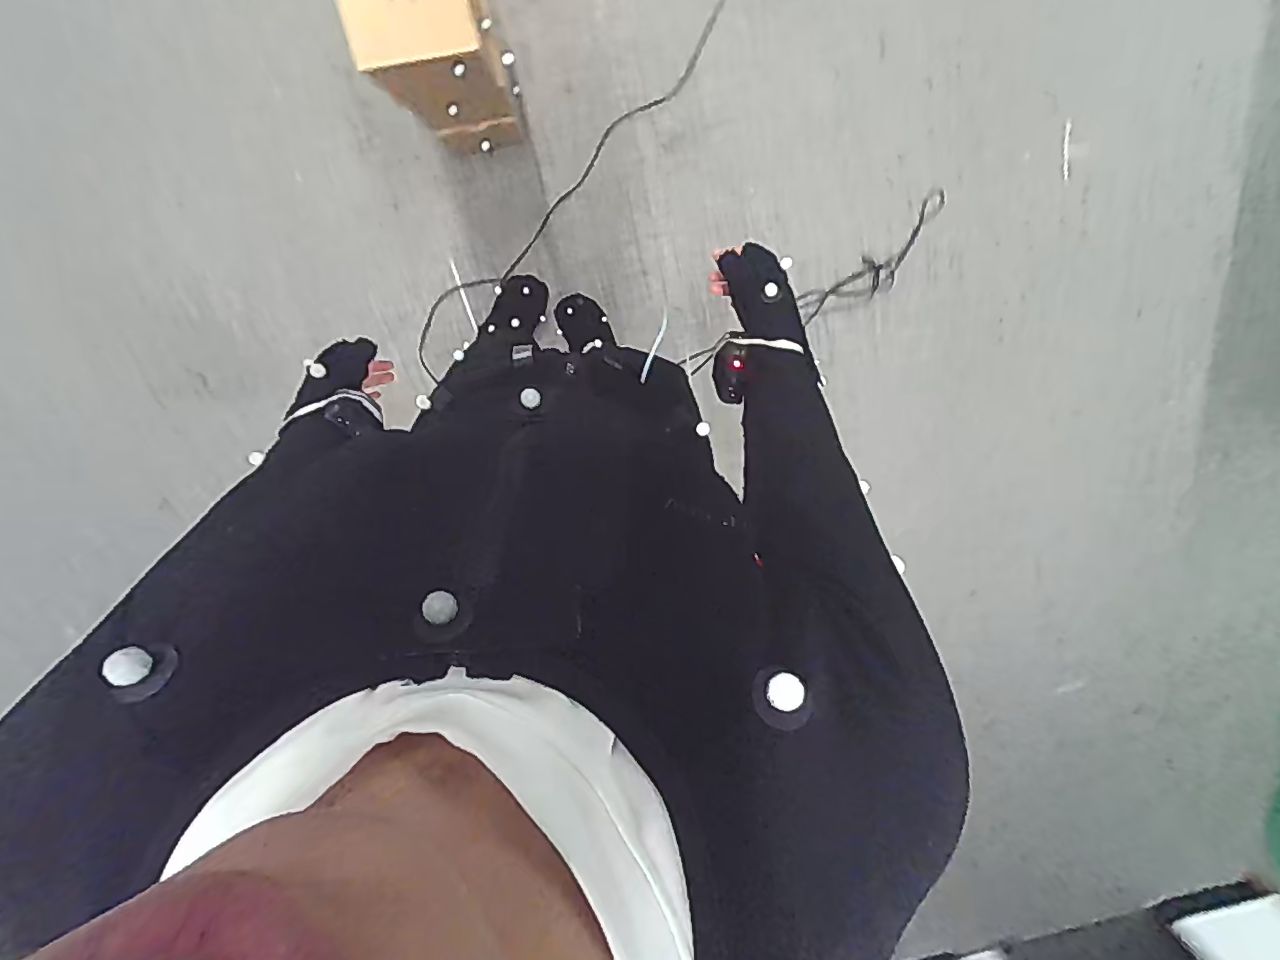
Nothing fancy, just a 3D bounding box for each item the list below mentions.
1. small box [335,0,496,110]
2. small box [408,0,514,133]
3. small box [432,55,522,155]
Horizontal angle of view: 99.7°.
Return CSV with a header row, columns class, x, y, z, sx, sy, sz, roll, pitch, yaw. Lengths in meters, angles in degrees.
class,x,y,z,sx,sy,sz,roll,pitch,yaw
small box,-0.332,-0.683,0.808,0.179,0.176,0.168,-12,111,-1
small box,-0.337,-0.741,0.960,0.179,0.176,0.168,-12,111,-2
small box,-0.350,-0.791,1.117,0.168,0.176,0.179,-12,111,-1
